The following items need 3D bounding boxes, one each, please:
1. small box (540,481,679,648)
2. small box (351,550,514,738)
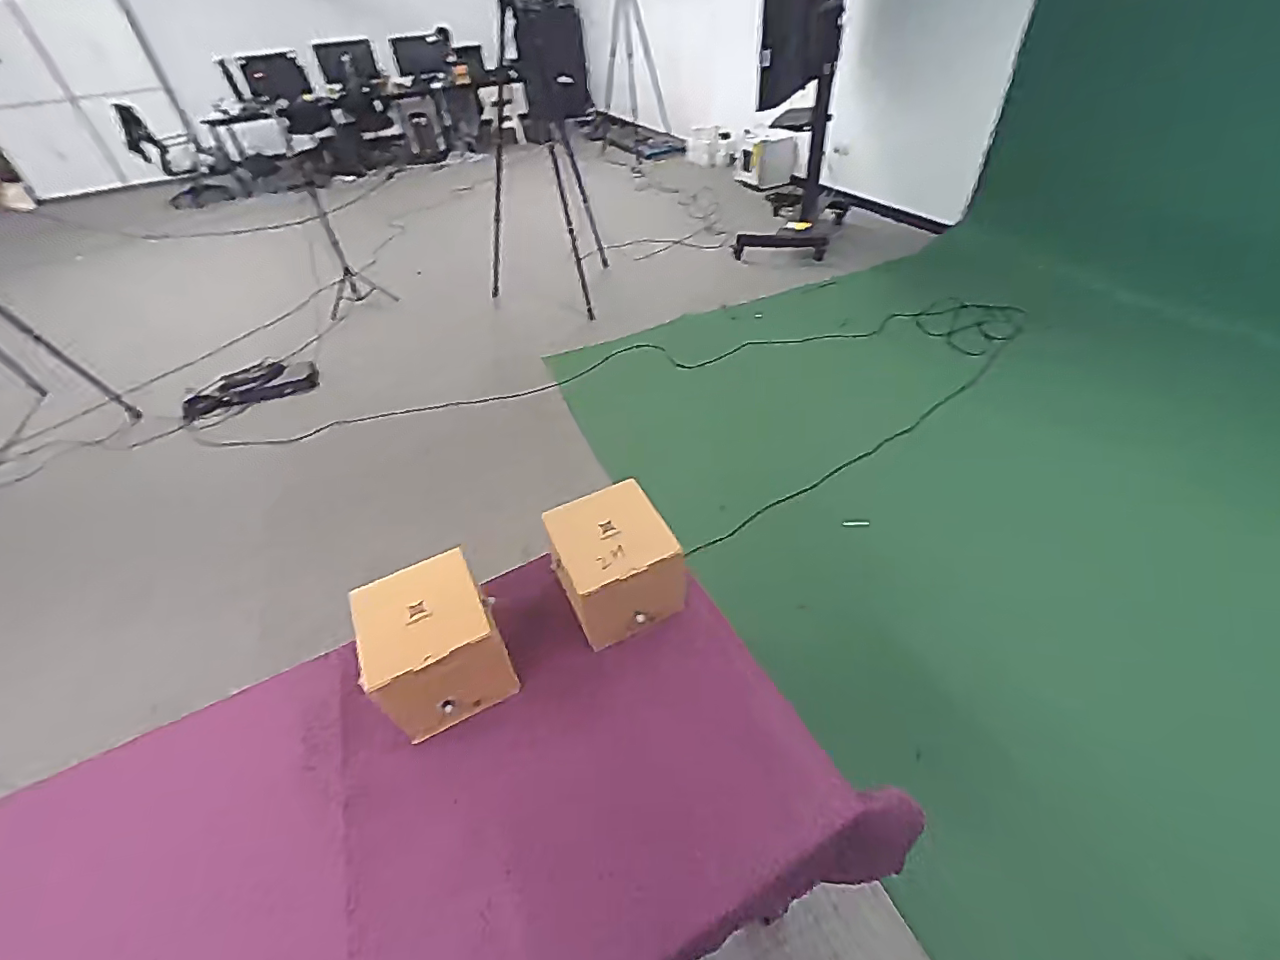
[{"bbox_3d":[-0.047,0.138,0.884,0.168,0.176,0.179,-22,48,-15],"label":"small box"},{"bbox_3d":[-0.306,0.244,0.808,0.168,0.176,0.179,-23,47,-17],"label":"small box"}]
